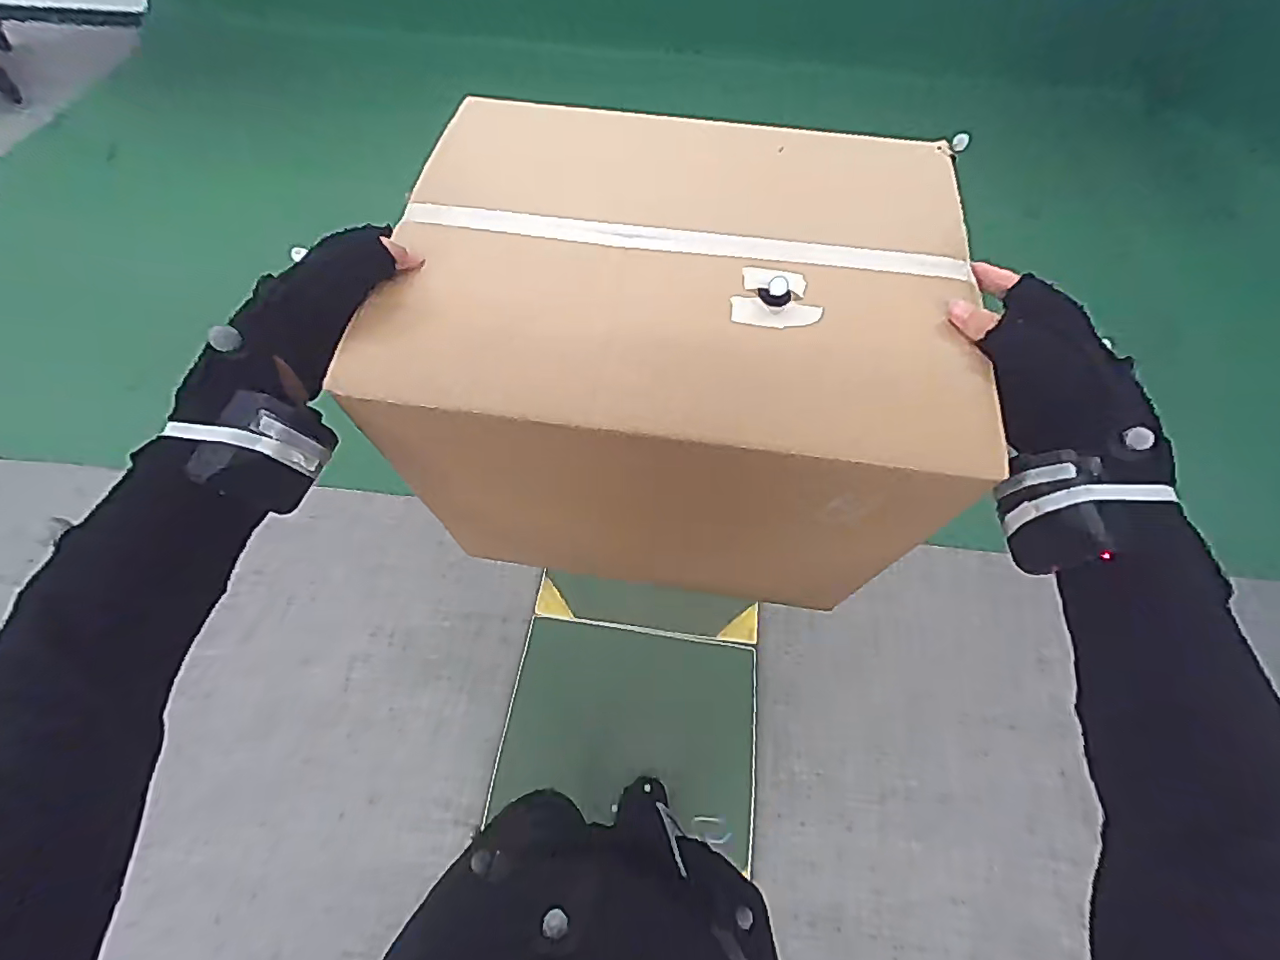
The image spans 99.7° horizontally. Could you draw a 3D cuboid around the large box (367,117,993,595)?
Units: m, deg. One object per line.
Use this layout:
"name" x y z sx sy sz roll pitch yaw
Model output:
"large box" 0.034 -0.096 0.535 0.408 0.320 0.320 8 64 2
